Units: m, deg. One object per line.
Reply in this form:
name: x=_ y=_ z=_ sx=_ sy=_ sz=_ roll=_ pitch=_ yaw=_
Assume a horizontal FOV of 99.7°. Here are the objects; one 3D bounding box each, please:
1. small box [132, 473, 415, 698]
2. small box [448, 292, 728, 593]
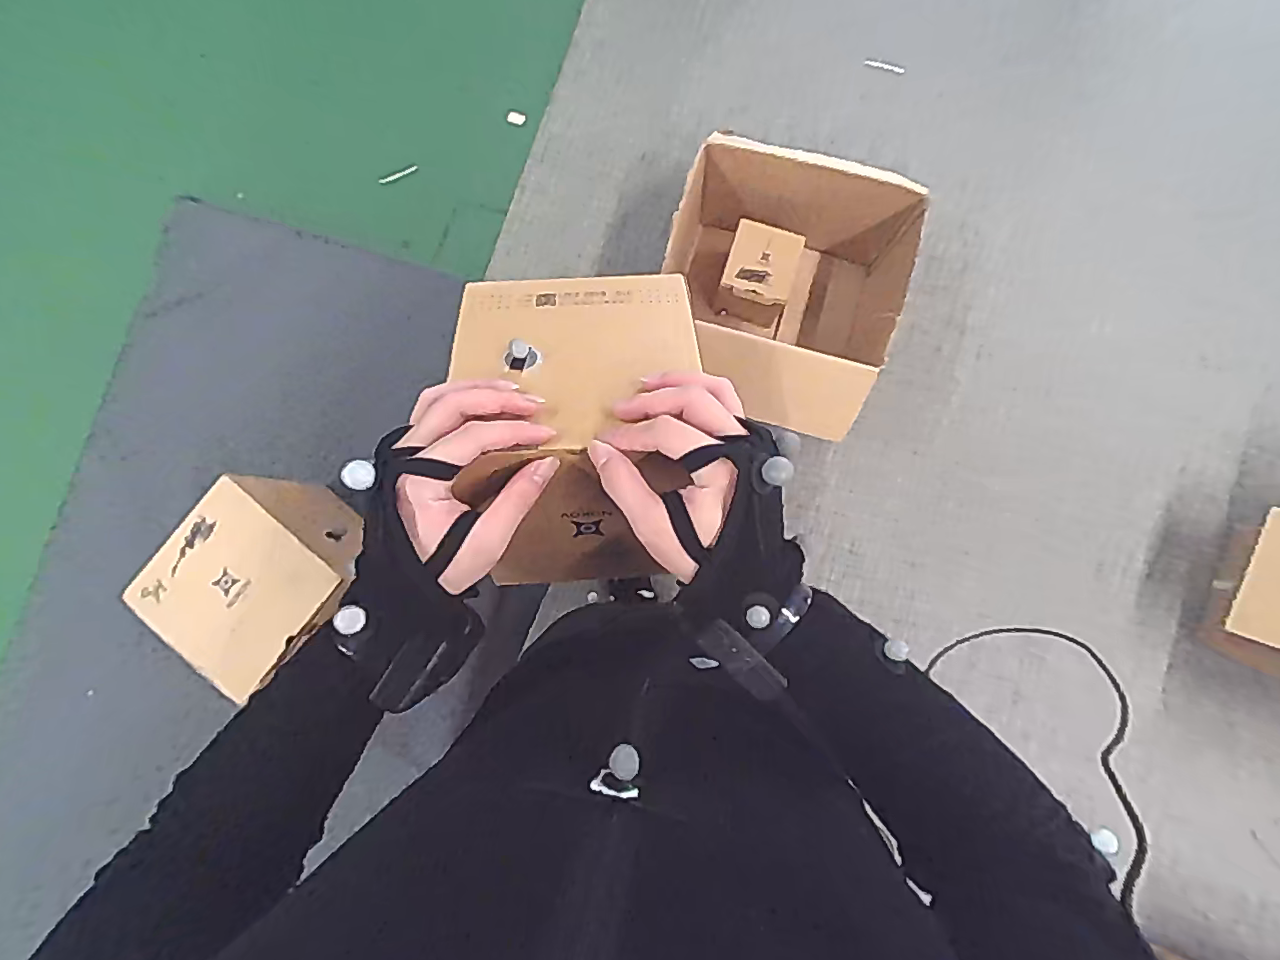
small box: x=-0.405 y=0.111 z=0.633 sx=0.179 sy=0.176 sz=0.168 roll=39 pitch=88 yaw=5
small box: x=-0.038 y=-0.030 z=0.422 sx=0.168 sy=0.179 sz=0.176 roll=-2 pitch=54 yaw=-3
